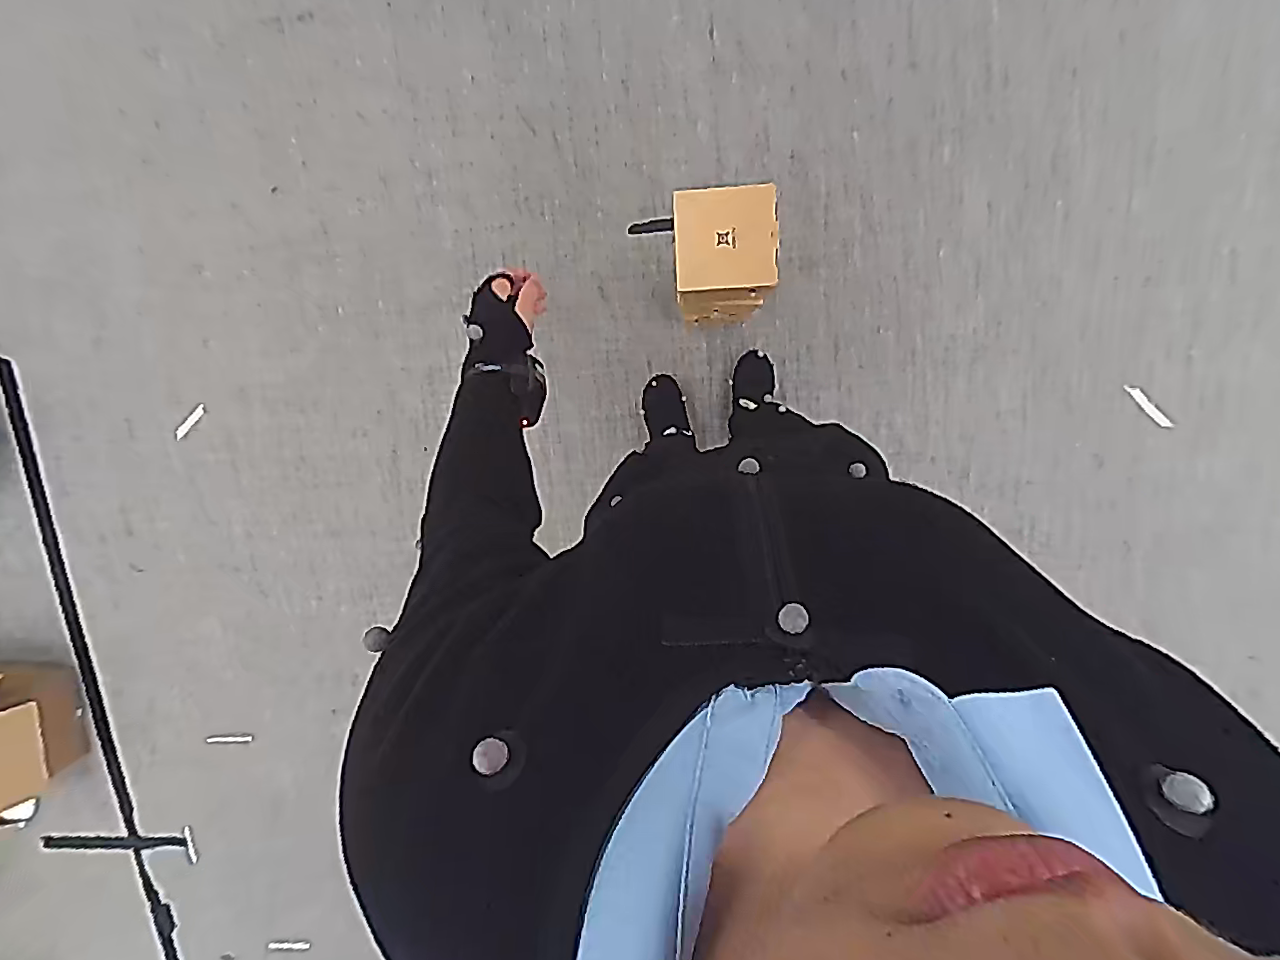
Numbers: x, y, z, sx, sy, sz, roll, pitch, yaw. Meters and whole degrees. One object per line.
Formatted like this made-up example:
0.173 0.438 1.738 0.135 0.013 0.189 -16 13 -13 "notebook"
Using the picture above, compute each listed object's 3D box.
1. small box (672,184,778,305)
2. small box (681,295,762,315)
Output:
0.152 -0.423 0.999 0.179 0.176 0.168 -3 100 4 "small box"
0.172 -0.451 1.158 0.168 0.176 0.179 1 100 3 "small box"
